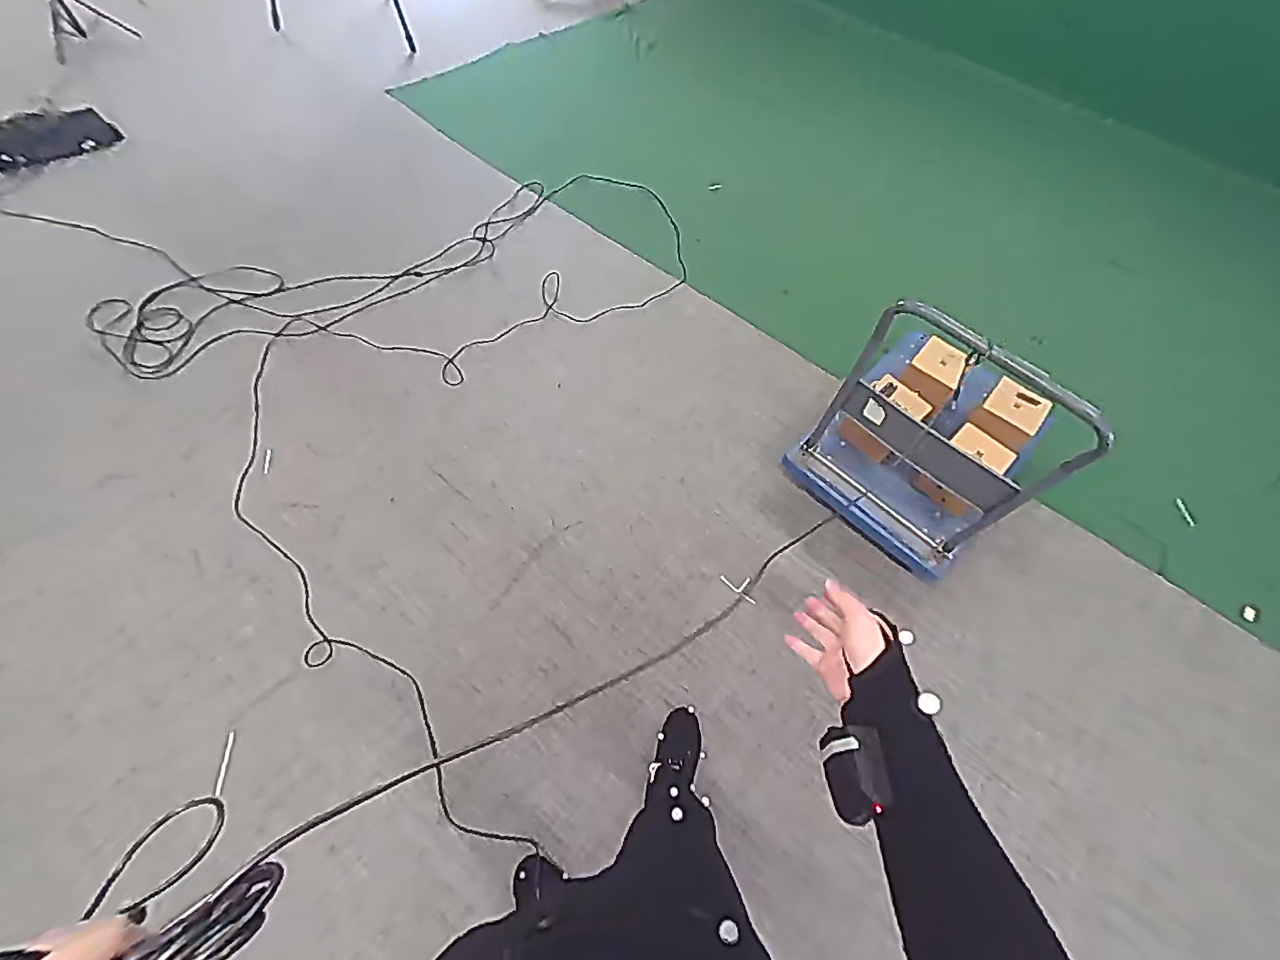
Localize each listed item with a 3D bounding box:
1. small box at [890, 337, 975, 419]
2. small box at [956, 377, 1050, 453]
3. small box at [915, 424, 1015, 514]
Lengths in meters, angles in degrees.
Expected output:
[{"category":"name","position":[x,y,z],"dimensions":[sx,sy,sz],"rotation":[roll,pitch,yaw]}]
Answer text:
[{"category":"small box","position":[0.974,-0.337,1.820],"dimensions":[0.168,0.176,0.179],"rotation":[38,64,16]},{"category":"small box","position":[1.165,-0.190,1.747],"dimensions":[0.168,0.176,0.179],"rotation":[38,65,17]},{"category":"small box","position":[0.975,-0.030,1.639],"dimensions":[0.179,0.176,0.168],"rotation":[-39,69,-23]}]
